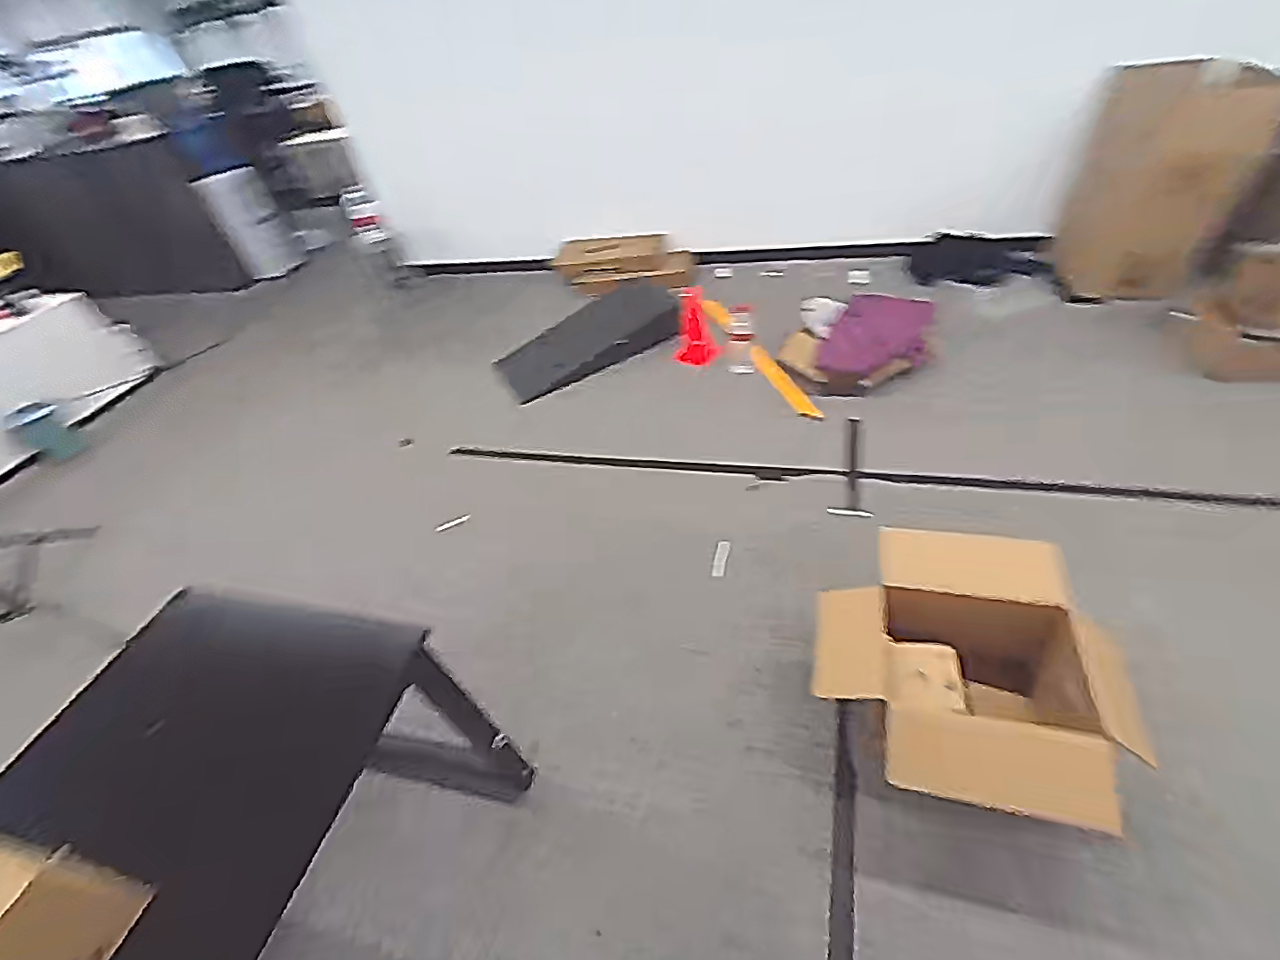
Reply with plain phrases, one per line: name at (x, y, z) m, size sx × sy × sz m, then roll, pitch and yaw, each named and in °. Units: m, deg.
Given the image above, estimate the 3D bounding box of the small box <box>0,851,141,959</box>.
small box at (-0.759, 0.548, 0.623) m, size 0.179 × 0.176 × 0.168 m, roll 5°, pitch 46°, yaw 16°
